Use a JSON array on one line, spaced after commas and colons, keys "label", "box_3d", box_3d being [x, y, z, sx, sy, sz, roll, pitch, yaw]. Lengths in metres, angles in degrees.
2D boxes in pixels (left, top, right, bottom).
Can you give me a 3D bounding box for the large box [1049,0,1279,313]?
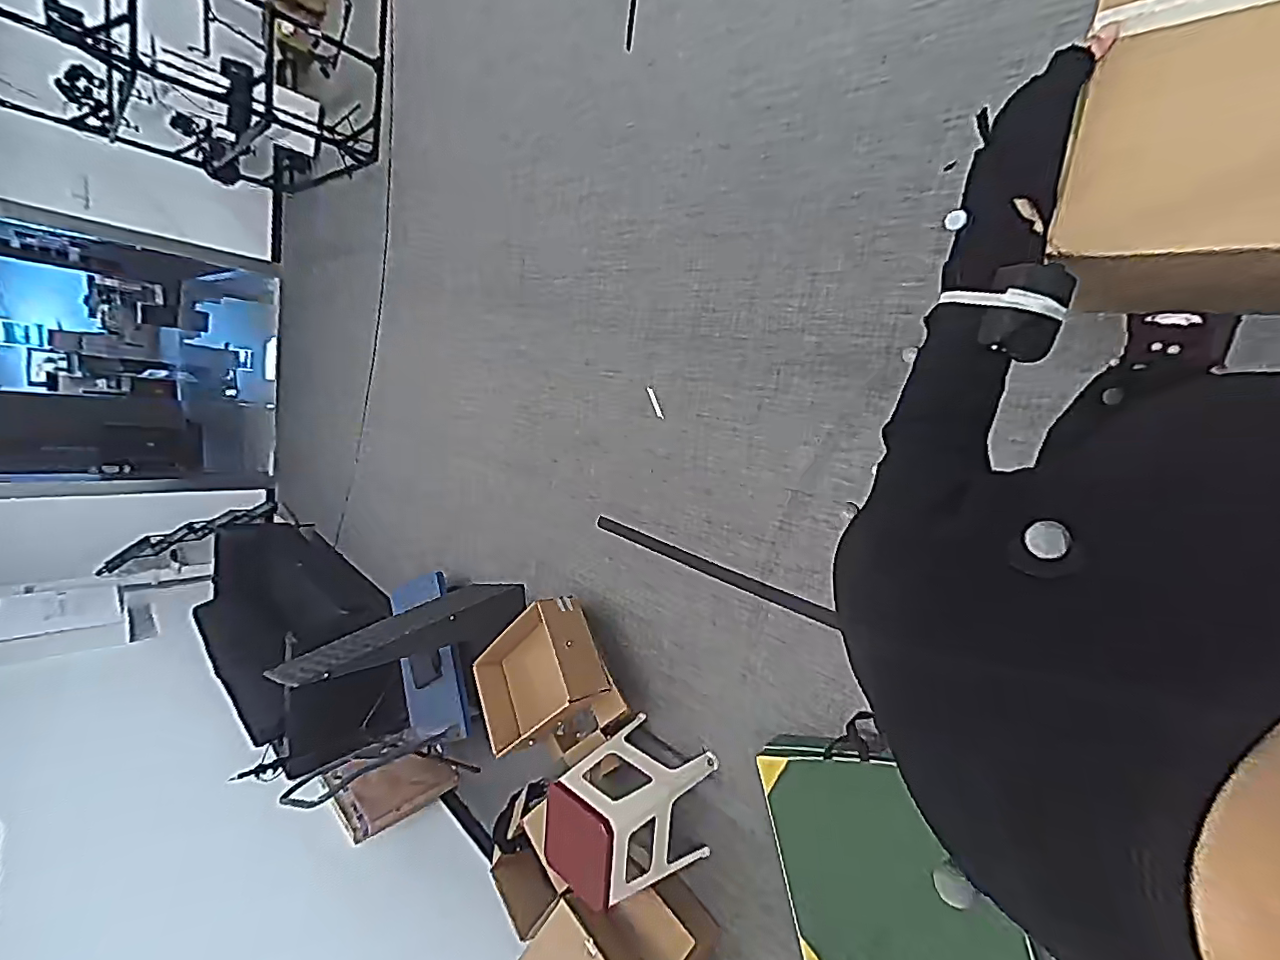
[{"label": "large box", "box_3d": [0.585, -0.305, 0.393, 0.408, 0.320, 0.320, 15, 106, 39]}]
